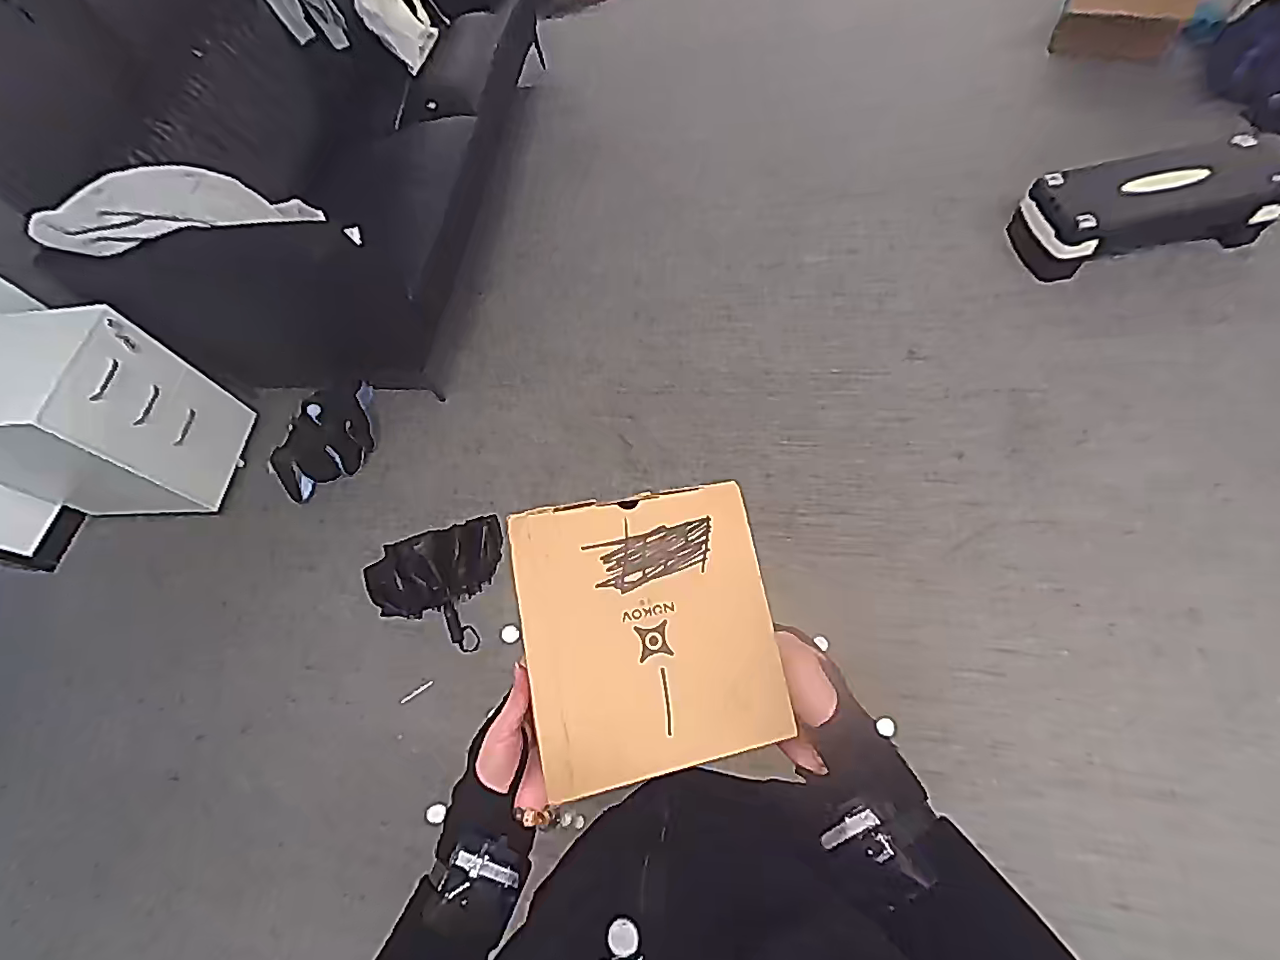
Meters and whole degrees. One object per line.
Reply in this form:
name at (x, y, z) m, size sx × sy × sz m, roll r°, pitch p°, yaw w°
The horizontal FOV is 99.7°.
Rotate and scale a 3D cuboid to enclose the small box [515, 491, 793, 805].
small box at (-0.008, 0.120, 0.431) m, size 0.168 × 0.176 × 0.179 m, roll -8°, pitch 78°, yaw -14°
